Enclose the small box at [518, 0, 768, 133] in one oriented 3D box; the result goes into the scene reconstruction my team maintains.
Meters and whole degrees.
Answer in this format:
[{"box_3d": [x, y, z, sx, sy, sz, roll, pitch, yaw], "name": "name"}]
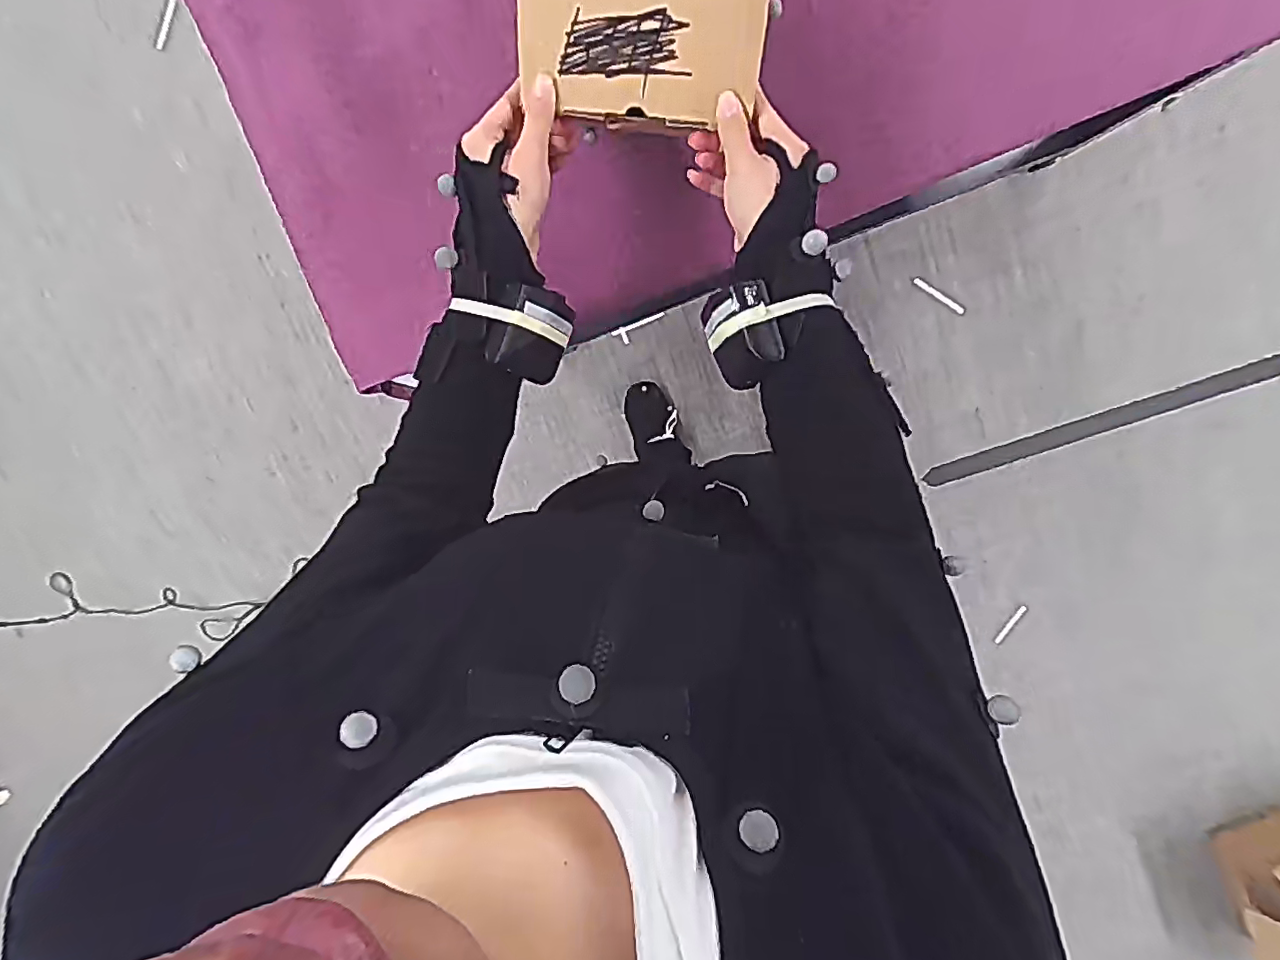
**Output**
[{"box_3d": [0.010, -0.372, 0.405, 0.168, 0.176, 0.179, 6, 120, 0], "name": "small box"}]
